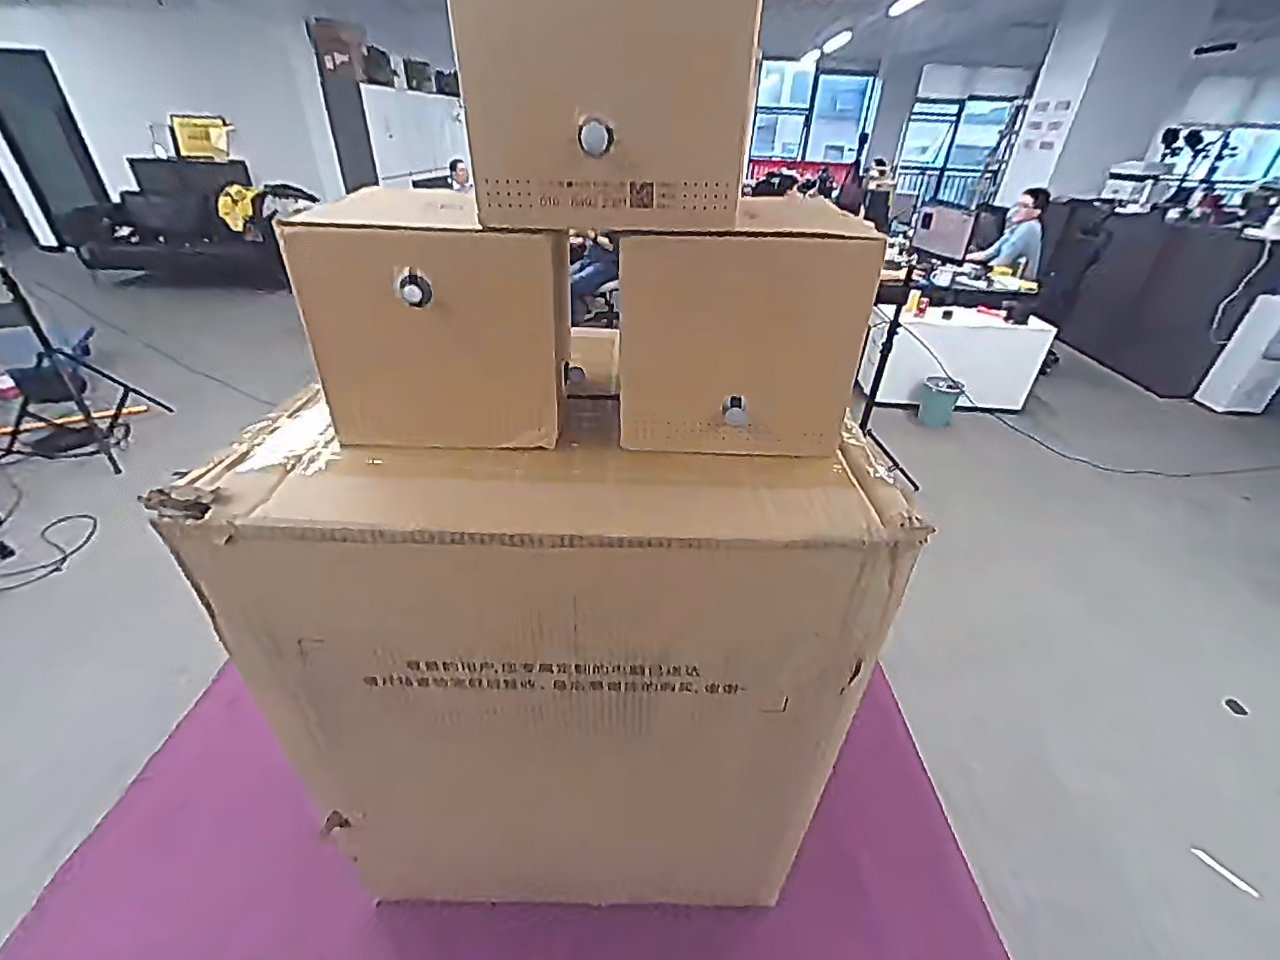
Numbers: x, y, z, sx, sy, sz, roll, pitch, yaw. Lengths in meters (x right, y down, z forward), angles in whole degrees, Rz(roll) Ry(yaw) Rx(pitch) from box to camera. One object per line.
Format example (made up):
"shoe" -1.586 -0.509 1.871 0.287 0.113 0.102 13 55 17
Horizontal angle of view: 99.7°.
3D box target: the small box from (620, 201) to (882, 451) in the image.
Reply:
"small box" 0.076 -0.135 0.465 0.179 0.176 0.168 1 33 1

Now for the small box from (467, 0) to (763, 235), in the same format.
"small box" -0.016 -0.277 0.375 0.168 0.176 0.179 1 34 0
